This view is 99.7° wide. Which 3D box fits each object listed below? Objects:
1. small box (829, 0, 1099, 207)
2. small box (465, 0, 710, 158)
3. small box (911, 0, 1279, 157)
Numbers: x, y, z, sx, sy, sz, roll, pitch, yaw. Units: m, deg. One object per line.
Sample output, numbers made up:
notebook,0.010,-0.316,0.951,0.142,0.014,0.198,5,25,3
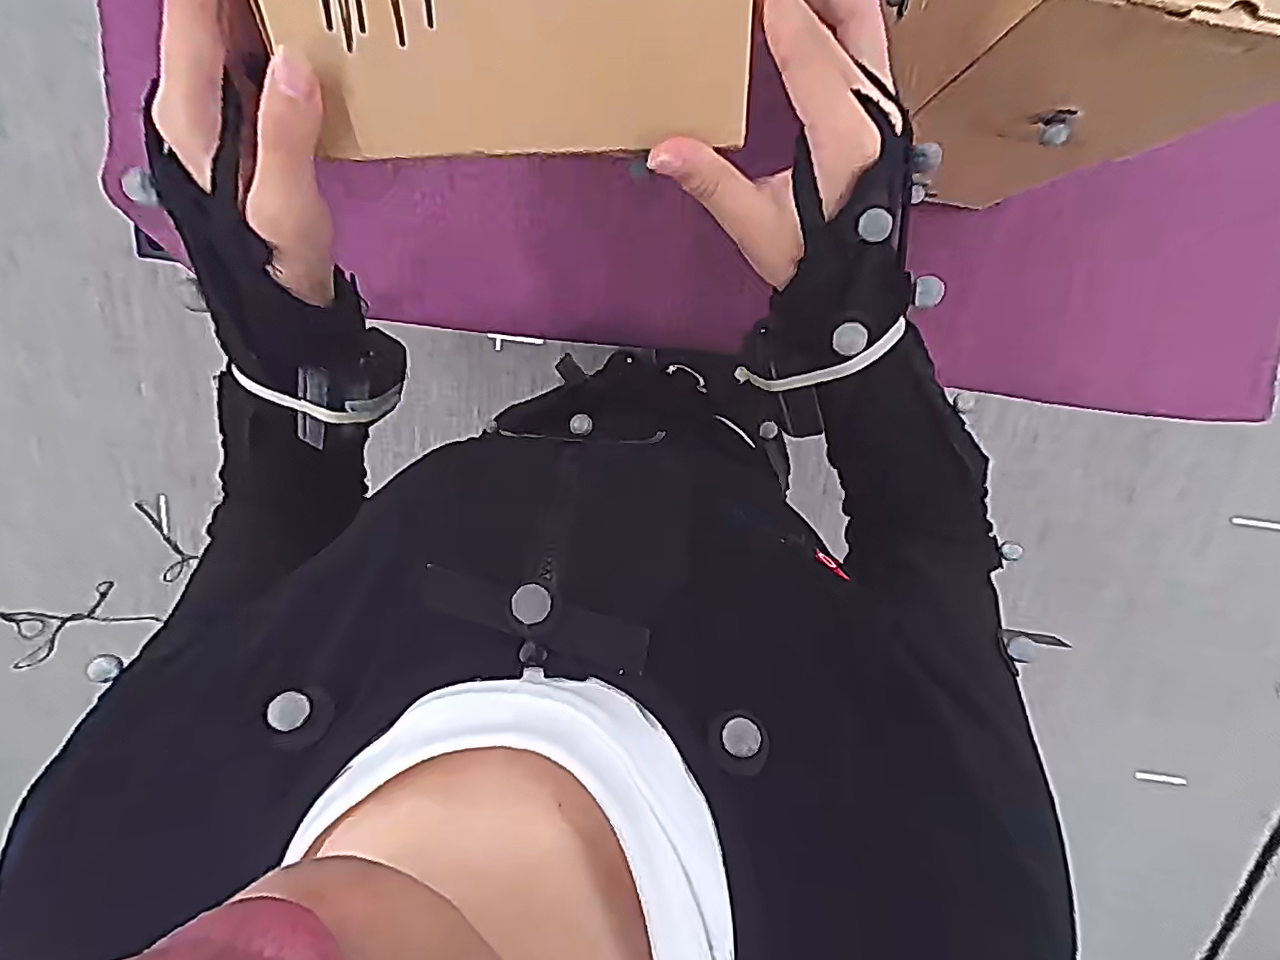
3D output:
small box,0.280,-0.357,0.460,0.168,0.176,0.179,9,105,-1
small box,-0.031,-0.396,0.456,0.179,0.176,0.168,7,105,-2
small box,0.282,-0.313,0.300,0.168,0.176,0.179,9,105,0
